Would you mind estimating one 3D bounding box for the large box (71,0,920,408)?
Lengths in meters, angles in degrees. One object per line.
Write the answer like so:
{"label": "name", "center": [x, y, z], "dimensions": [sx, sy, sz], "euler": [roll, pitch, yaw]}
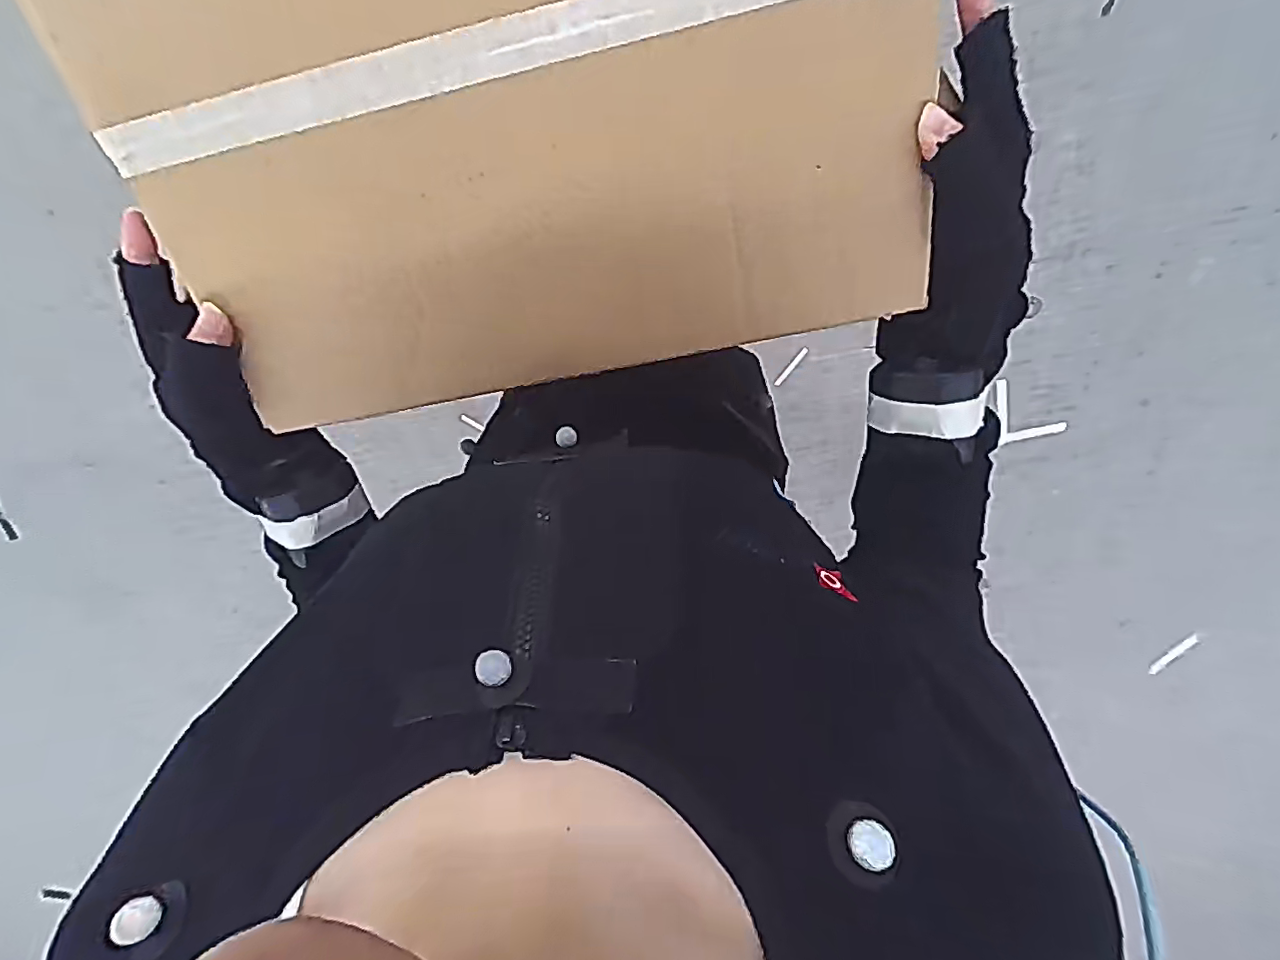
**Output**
{"label": "large box", "center": [-0.066, -0.282, 0.395], "dimensions": [0.408, 0.320, 0.320], "euler": [-10, 118, 6]}
